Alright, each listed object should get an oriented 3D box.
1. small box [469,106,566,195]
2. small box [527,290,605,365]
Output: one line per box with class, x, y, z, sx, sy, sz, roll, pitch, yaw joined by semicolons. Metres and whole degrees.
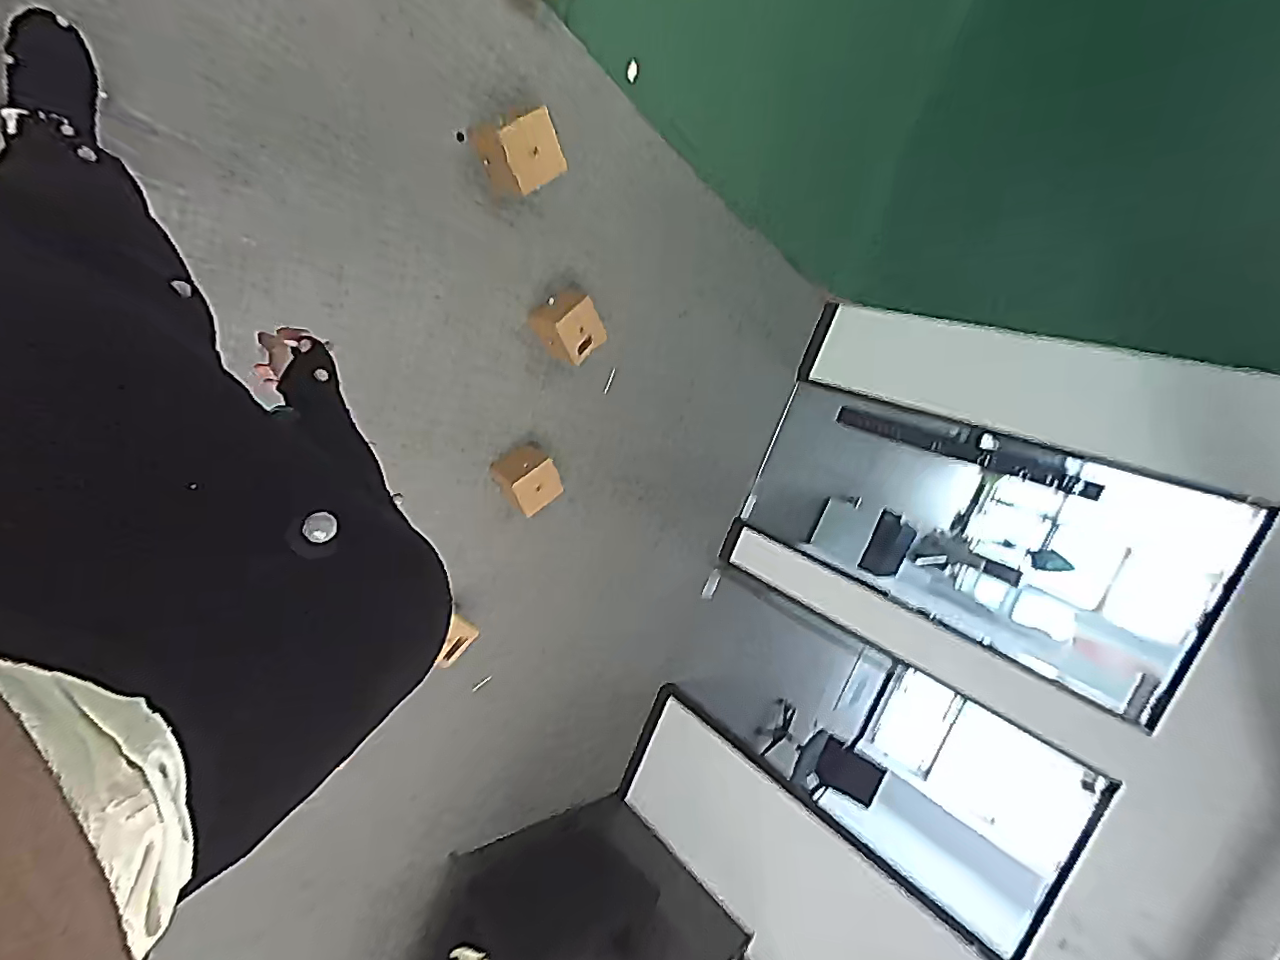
small box;-0.347;-0.935;1.533;0.179;0.176;0.168;-44;138;-20
small box;-0.255;-0.533;1.870;0.168;0.176;0.179;-47;139;-18
